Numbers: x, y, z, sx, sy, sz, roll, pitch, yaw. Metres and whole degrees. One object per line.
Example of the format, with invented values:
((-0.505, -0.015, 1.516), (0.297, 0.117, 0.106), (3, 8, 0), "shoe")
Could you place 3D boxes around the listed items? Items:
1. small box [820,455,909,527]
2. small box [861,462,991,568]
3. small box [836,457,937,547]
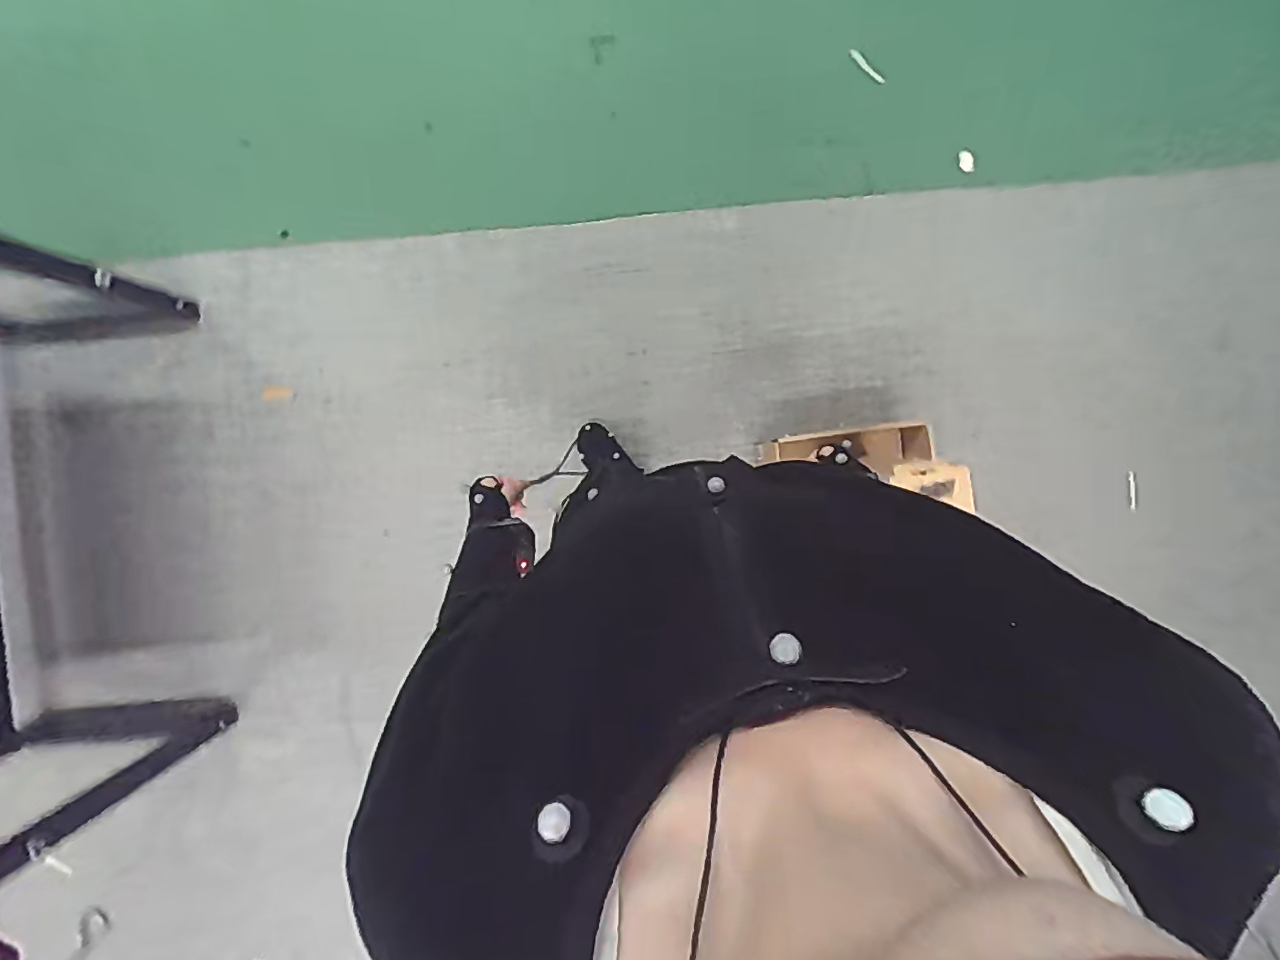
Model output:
((0.572, 0.029, 1.379), (0.179, 0.176, 0.168), (-9, 94, 2), "small box")
((0.546, 0.059, 1.055), (0.168, 0.176, 0.179), (-8, 95, 4), "small box")
((0.555, 0.043, 1.217), (0.168, 0.176, 0.179), (-8, 94, 3), "small box")
